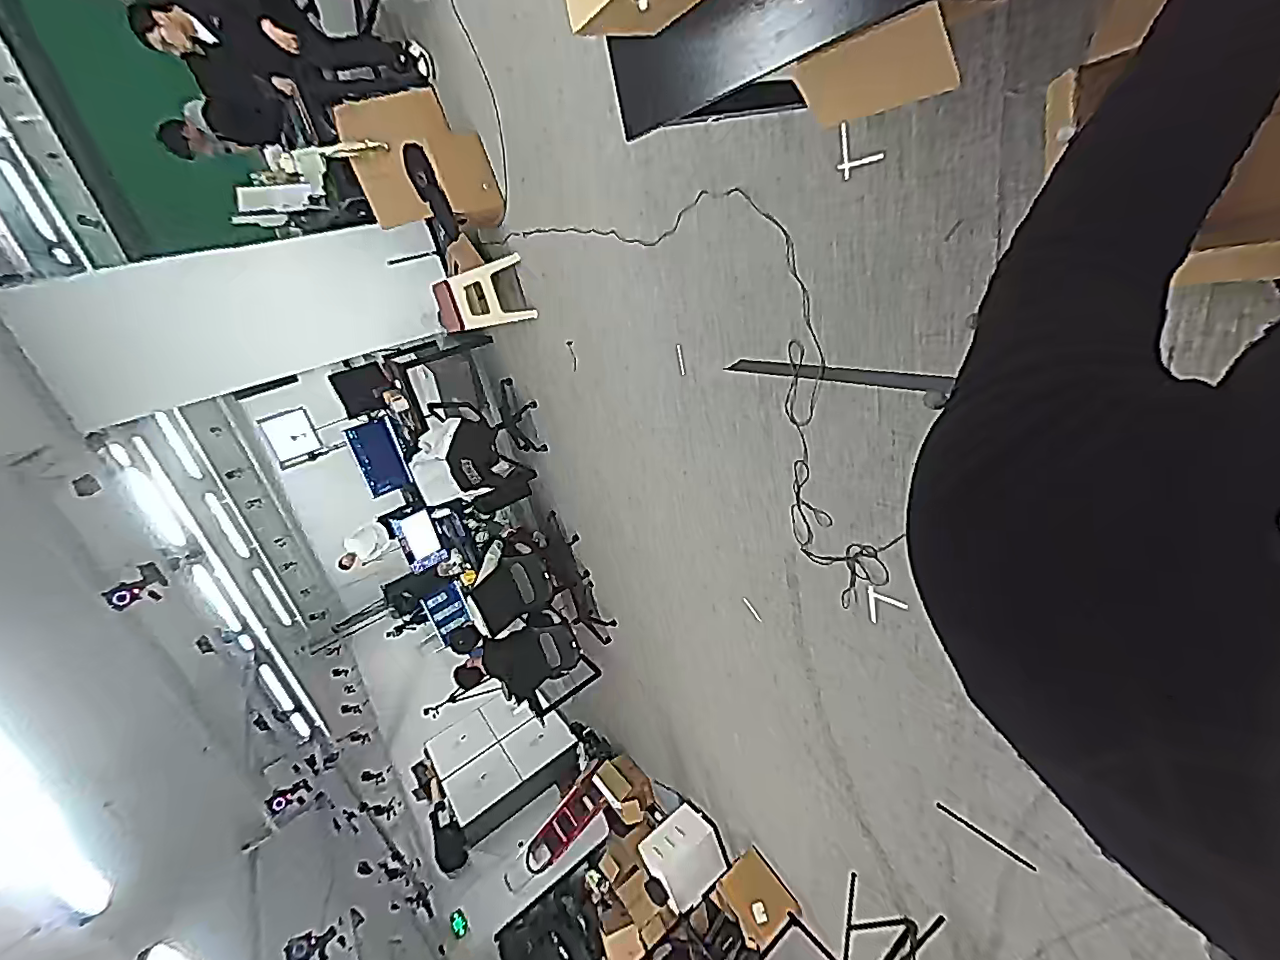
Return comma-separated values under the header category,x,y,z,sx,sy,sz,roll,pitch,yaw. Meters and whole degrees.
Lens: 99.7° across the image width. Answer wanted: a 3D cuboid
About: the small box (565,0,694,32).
category,x,y,z,sx,sy,sz,roll,pitch,yaw
small box,-0.009,-0.780,0.775,0.179,0.176,0.168,19,129,52
